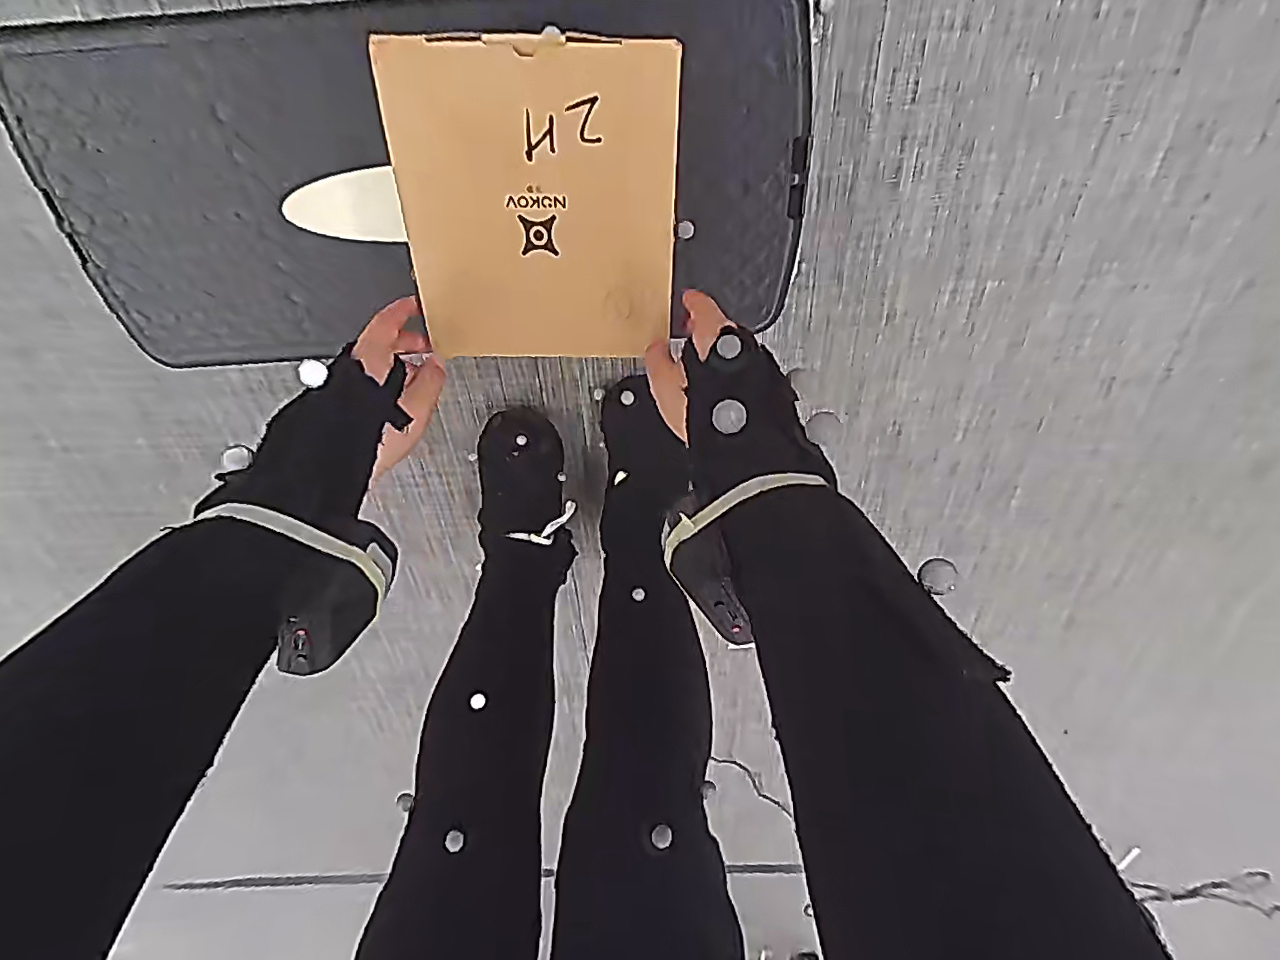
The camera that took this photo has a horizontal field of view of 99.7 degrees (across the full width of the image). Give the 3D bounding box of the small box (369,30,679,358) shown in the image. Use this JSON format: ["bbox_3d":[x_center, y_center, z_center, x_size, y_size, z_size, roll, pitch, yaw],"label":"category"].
[{"bbox_3d":[-0.062,-0.203,0.393,0.168,0.176,0.179,0,123,-1],"label":"small box"}]
